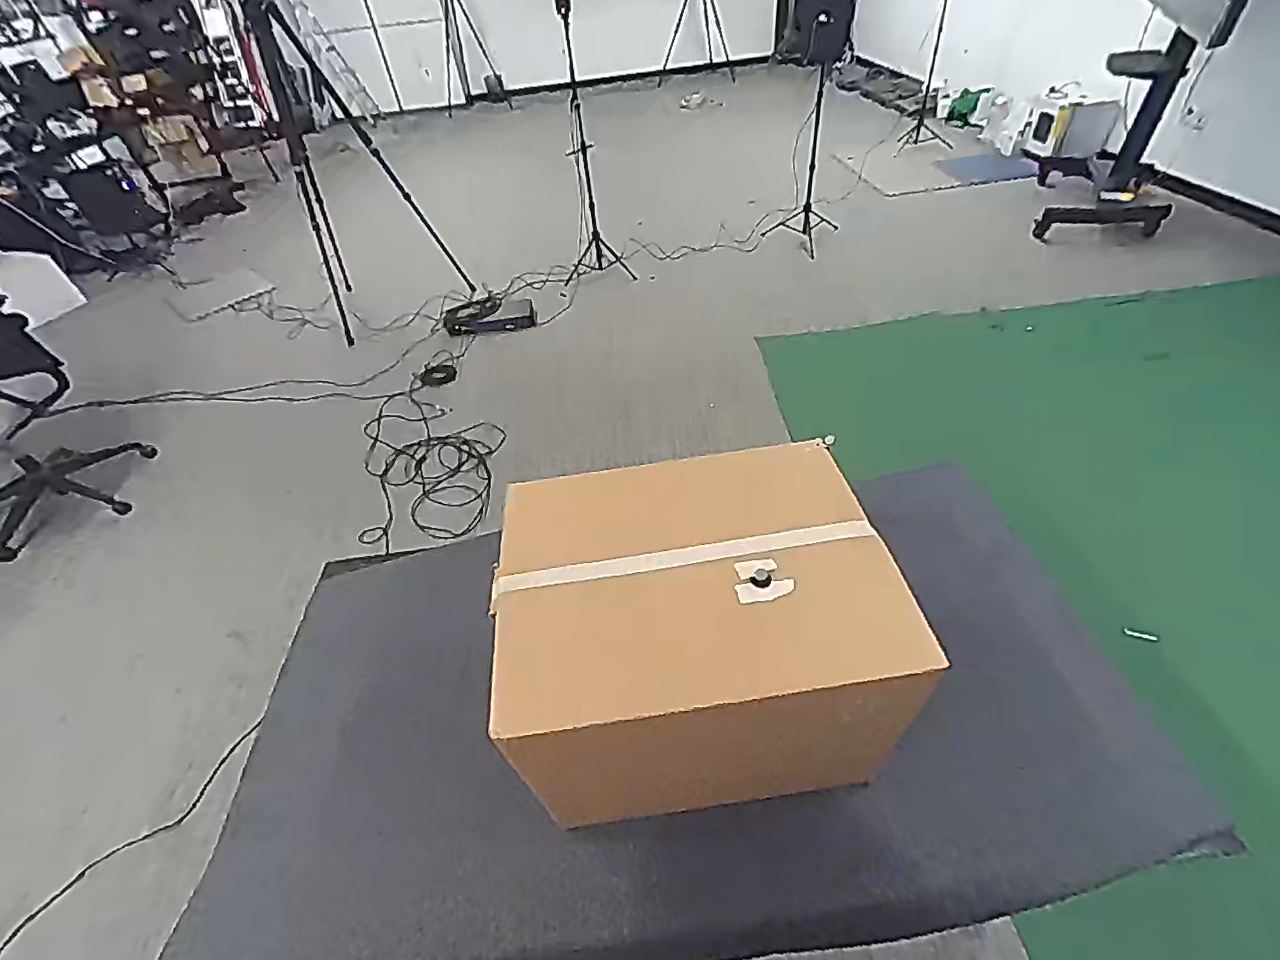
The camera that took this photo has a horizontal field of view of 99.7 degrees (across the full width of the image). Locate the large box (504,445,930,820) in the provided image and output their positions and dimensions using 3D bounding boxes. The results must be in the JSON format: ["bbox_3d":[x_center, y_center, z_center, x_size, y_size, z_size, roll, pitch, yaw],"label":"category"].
[{"bbox_3d":[0.064,0.194,0.694,0.408,0.320,0.320,-8,46,-2],"label":"large box"}]
